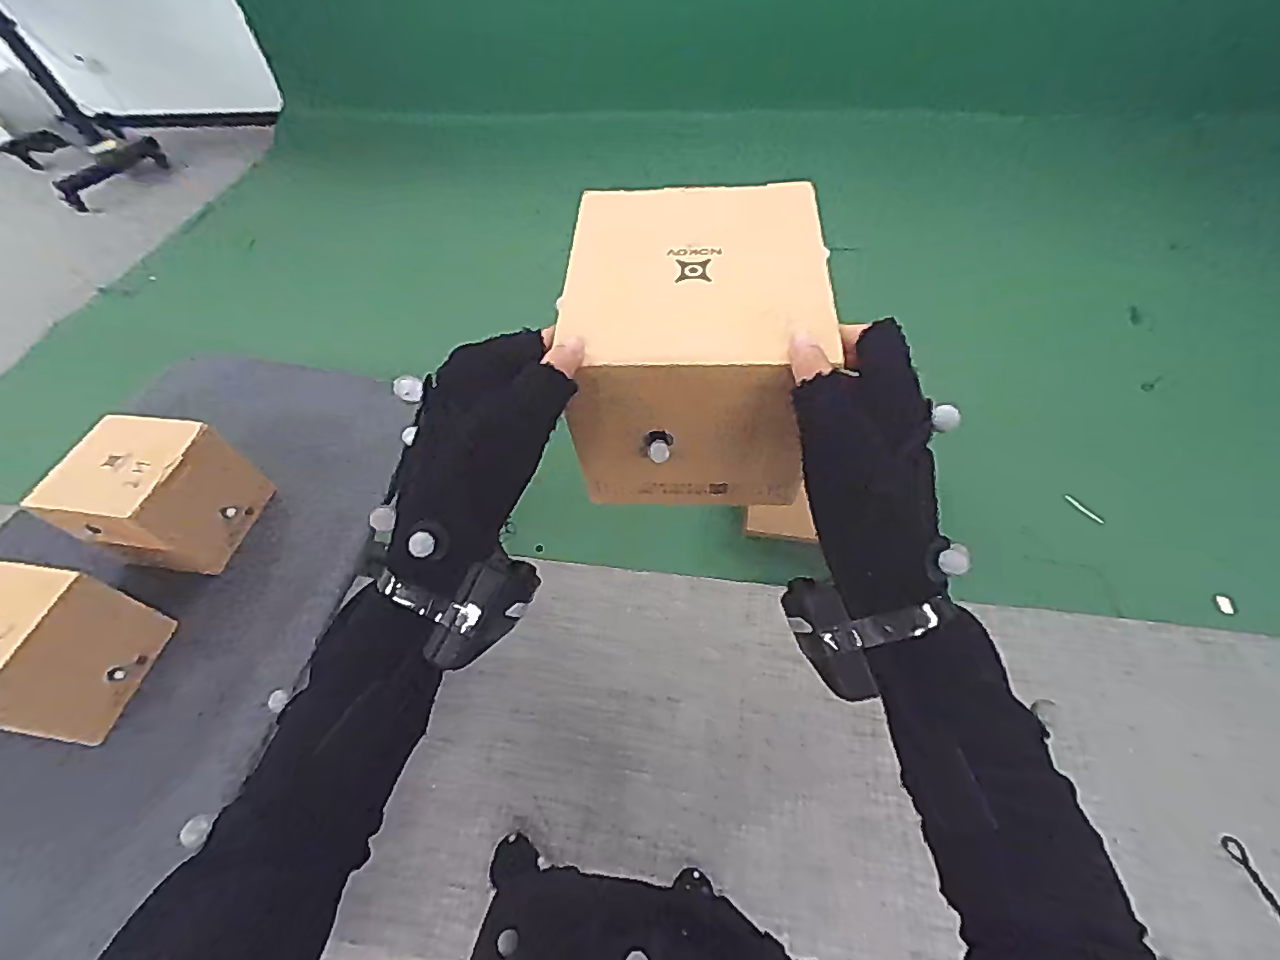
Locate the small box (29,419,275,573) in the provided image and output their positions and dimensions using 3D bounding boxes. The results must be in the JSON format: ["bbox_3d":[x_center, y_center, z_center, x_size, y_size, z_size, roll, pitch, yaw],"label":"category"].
[{"bbox_3d":[-0.715,0.027,0.818,0.179,0.176,0.168,5,55,8],"label":"small box"}]

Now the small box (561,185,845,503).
[{"bbox_3d":[0.047,-0.094,0.416,0.168,0.176,0.179,1,58,6],"label":"small box"}]
